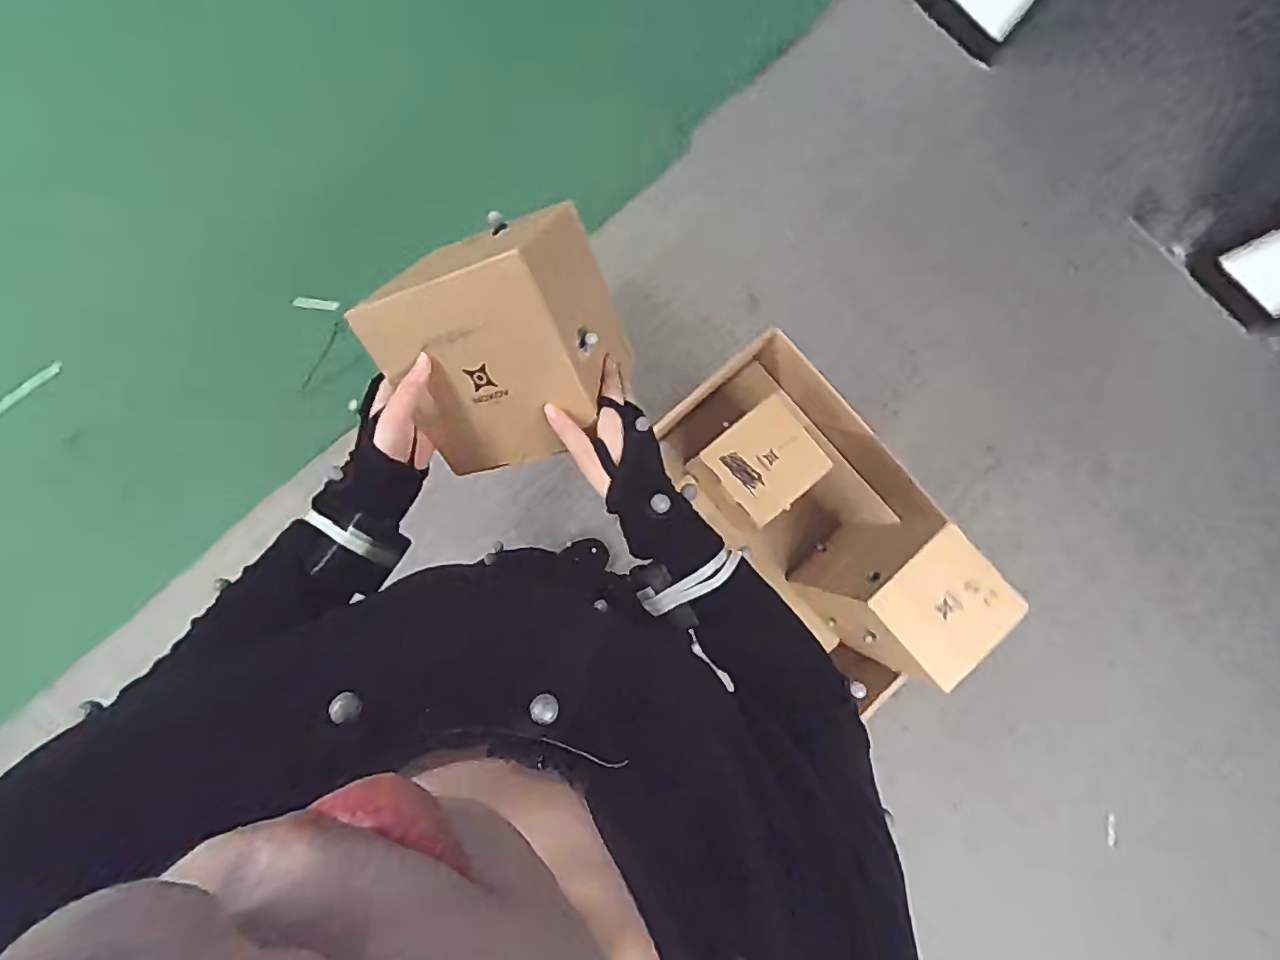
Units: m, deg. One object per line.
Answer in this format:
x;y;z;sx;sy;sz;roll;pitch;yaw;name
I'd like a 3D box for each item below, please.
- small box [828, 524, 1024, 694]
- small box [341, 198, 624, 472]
0.415;0.185;0.825;0.179;0.176;0.168;-40;89;-7;small box
-0.126;-0.137;0.516;0.168;0.176;0.179;-11;127;18;small box
